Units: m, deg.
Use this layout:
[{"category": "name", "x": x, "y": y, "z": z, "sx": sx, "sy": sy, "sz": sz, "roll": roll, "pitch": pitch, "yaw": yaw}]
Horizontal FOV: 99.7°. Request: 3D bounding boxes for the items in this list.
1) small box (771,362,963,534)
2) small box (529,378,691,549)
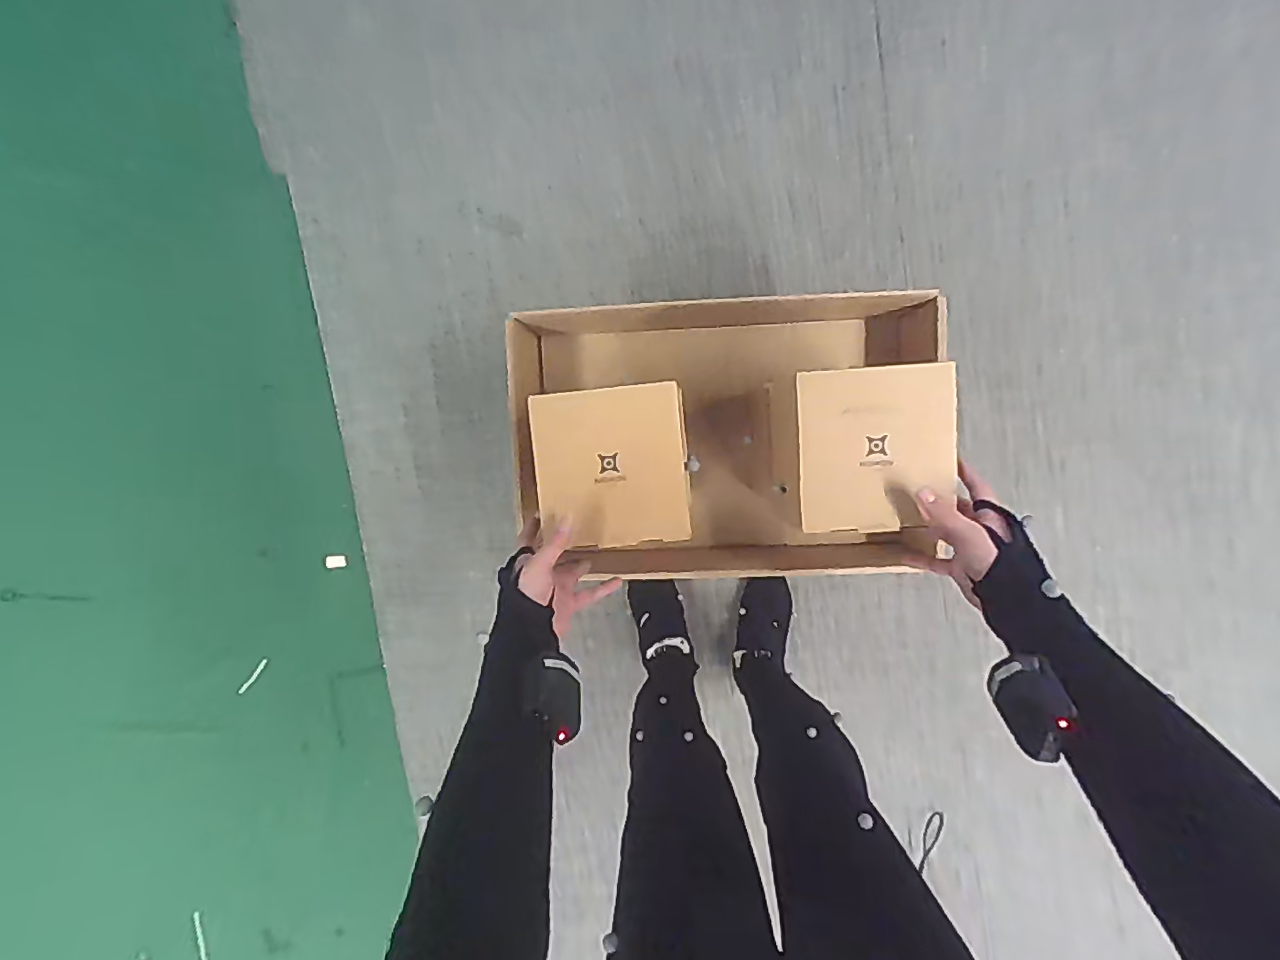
[{"category": "small box", "x": 0.253, "y": -0.038, "z": 0.638, "sx": 0.168, "sy": 0.176, "sz": 0.179, "roll": -2, "pitch": 94, "yaw": 3}, {"category": "small box", "x": -0.029, "y": -0.021, "z": 0.661, "sx": 0.168, "sy": 0.176, "sz": 0.179, "roll": -5, "pitch": 95, "yaw": 4}]
